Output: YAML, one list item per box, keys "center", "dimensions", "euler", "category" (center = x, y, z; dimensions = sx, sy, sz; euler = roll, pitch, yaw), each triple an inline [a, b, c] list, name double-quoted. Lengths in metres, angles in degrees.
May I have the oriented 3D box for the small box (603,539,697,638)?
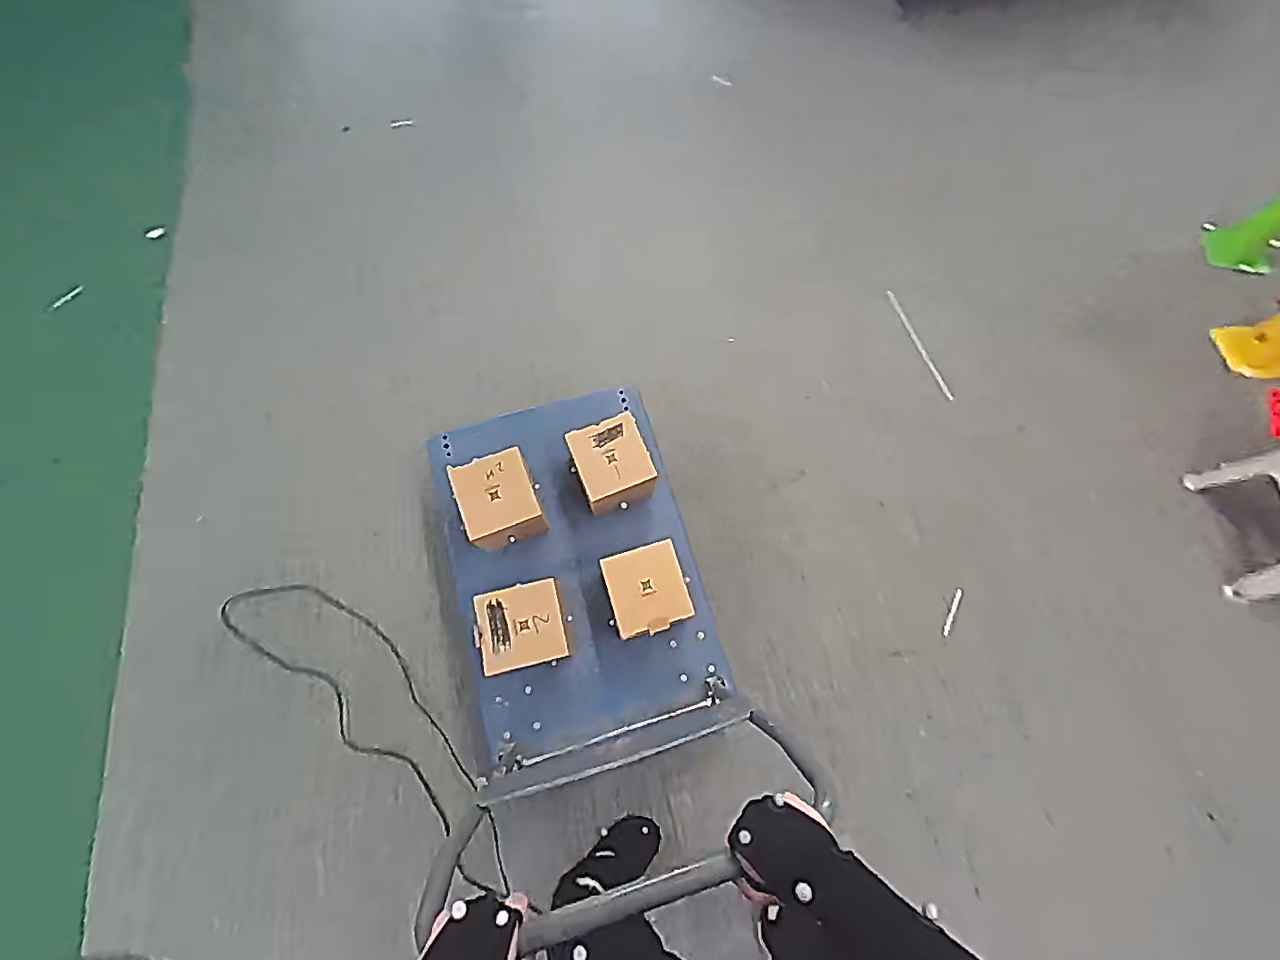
- center: [0.015, 0.252, 1.231]
  dimensions: [0.168, 0.176, 0.179]
  euler: [-16, 76, -7]
  category: "small box"

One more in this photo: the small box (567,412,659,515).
- center: [-0.067, -0.034, 1.309]
  dimensions: [0.168, 0.176, 0.179]
  euler: [-21, 77, -8]
  category: "small box"

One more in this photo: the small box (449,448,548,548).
- center: [-0.325, 0.052, 1.272]
  dimensions: [0.168, 0.176, 0.179]
  euler: [-20, 76, -9]
  category: "small box"
